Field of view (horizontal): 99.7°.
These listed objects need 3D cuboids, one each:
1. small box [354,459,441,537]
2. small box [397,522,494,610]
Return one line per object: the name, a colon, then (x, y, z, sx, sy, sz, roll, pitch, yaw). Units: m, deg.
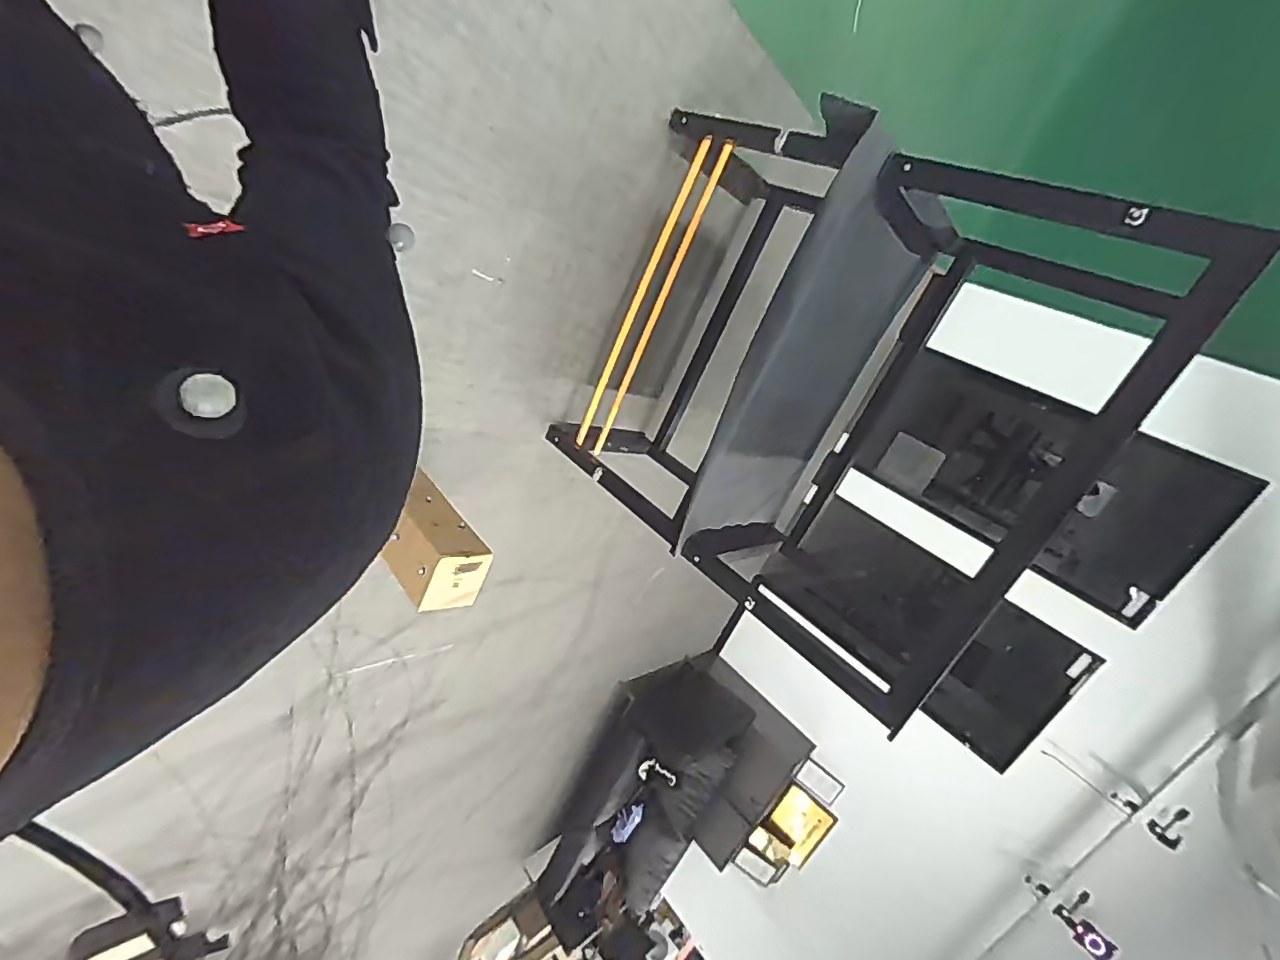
small box: (-0.751, 0.058, 1.663, 0.168, 0.176, 0.179, 9, 114, -53)
small box: (-0.538, 0.228, 1.483, 0.168, 0.176, 0.179, 7, 116, -51)
